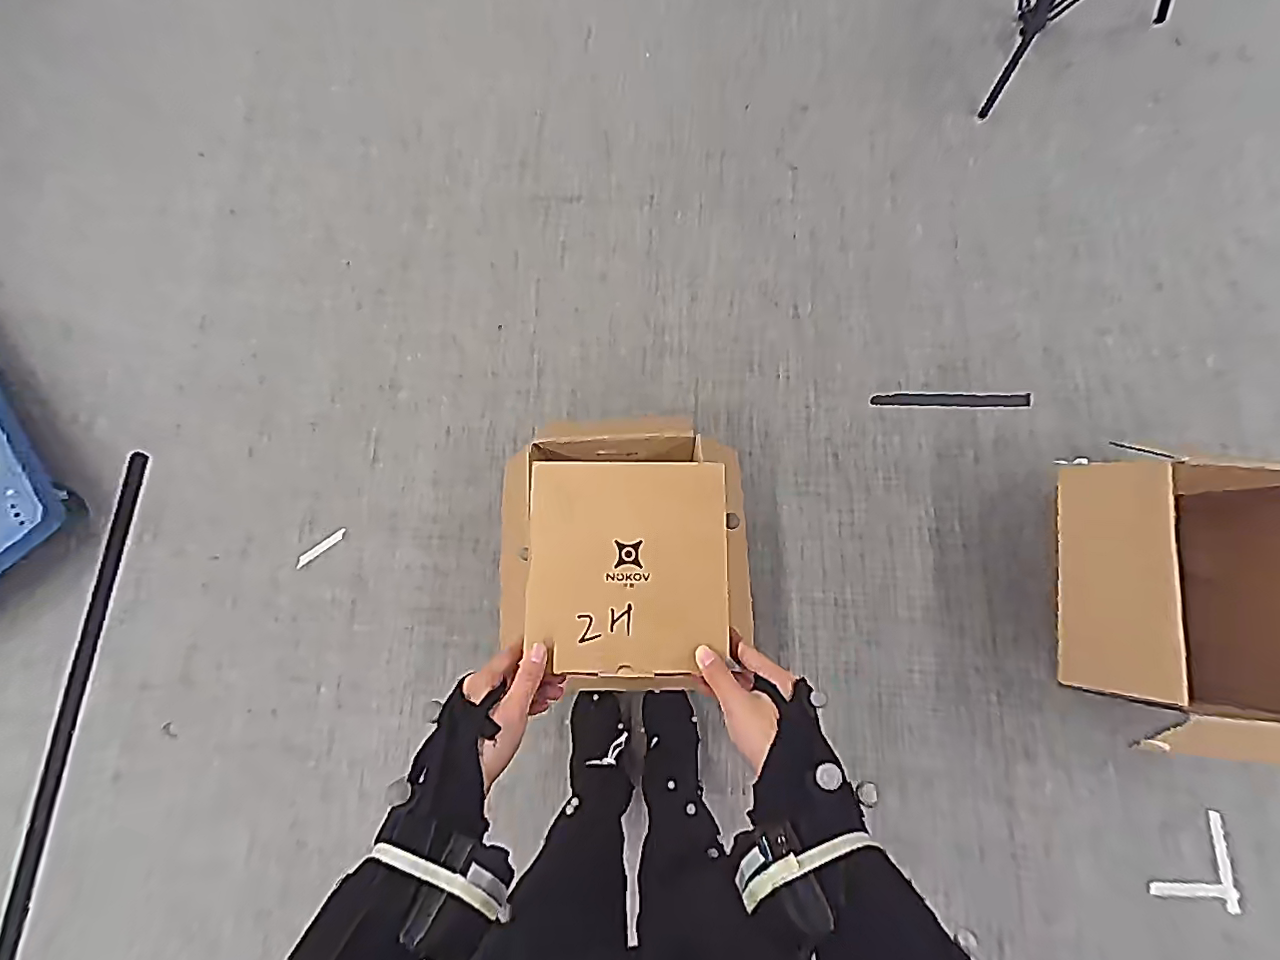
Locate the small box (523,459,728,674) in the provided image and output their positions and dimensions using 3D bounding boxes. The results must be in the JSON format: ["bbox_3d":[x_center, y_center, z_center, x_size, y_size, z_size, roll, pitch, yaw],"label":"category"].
[{"bbox_3d":[-0.010,0.085,0.523,0.168,0.176,0.179,0,78,1],"label":"small box"}]
